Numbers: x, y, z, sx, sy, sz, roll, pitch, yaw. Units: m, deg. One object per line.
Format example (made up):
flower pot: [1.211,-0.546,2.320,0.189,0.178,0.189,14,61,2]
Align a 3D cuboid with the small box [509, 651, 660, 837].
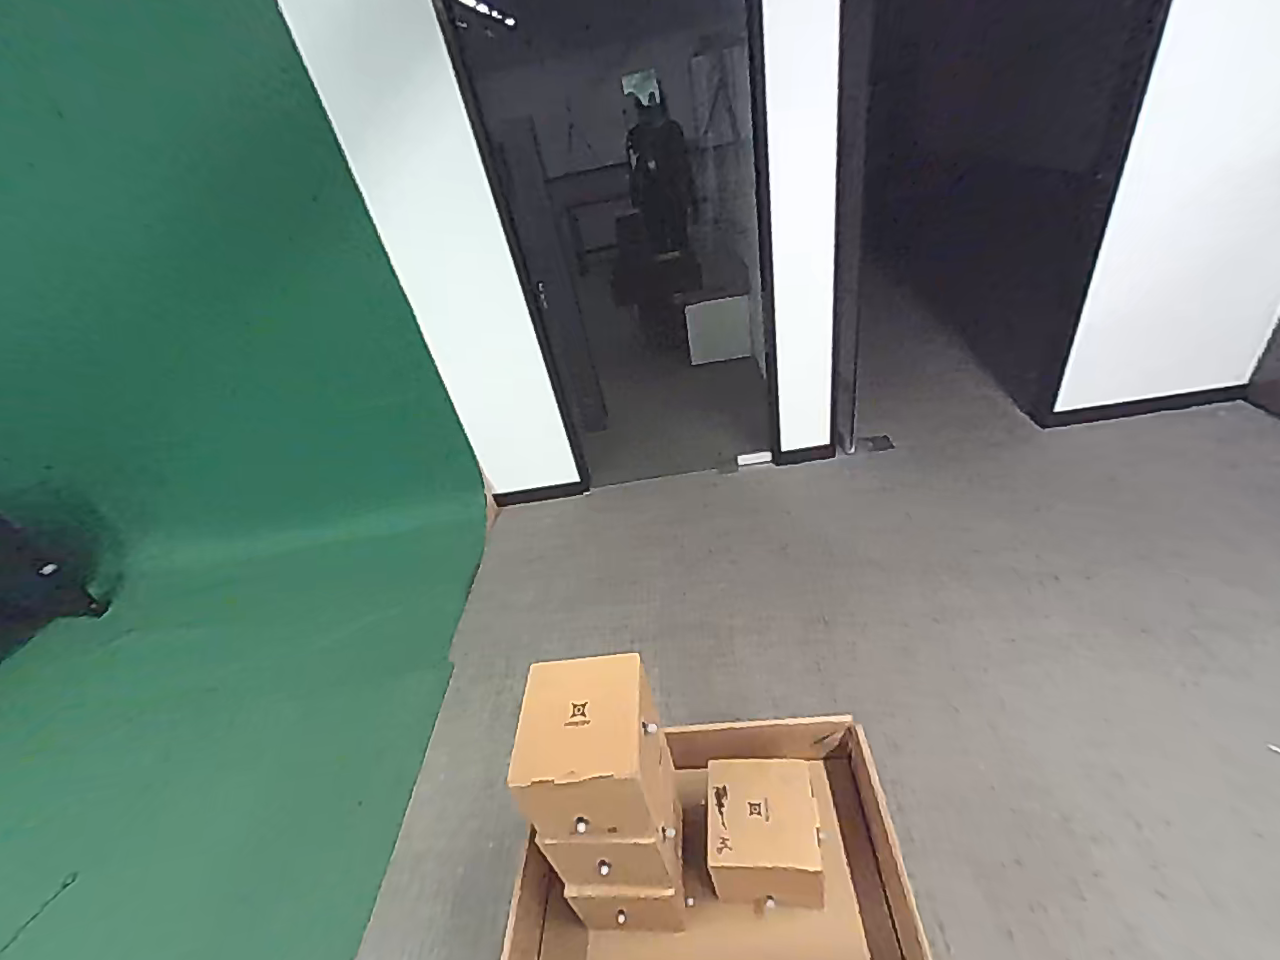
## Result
small box: [-0.066,0.371,0.766,0.168,0.176,0.179,-8,35,7]
